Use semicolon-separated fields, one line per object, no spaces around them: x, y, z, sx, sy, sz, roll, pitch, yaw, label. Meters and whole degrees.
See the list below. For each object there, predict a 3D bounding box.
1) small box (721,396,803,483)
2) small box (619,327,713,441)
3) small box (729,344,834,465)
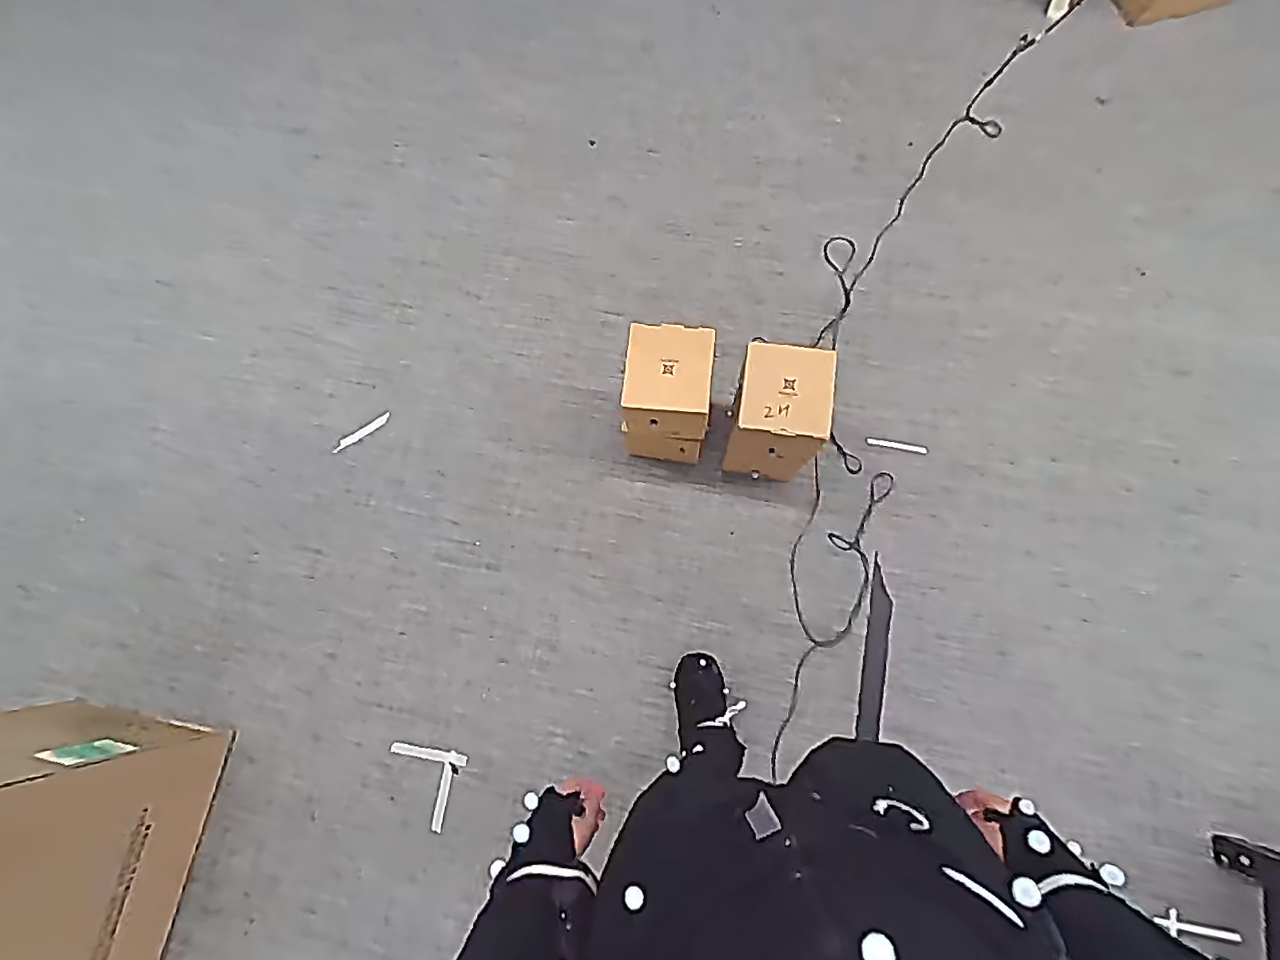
0.282;-0.106;1.233;0.168;0.176;0.179;10;78;6;small box
0.056;-0.188;1.101;0.168;0.176;0.179;5;76;5;small box
0.274;-0.144;1.073;0.168;0.176;0.179;8;77;6;small box
